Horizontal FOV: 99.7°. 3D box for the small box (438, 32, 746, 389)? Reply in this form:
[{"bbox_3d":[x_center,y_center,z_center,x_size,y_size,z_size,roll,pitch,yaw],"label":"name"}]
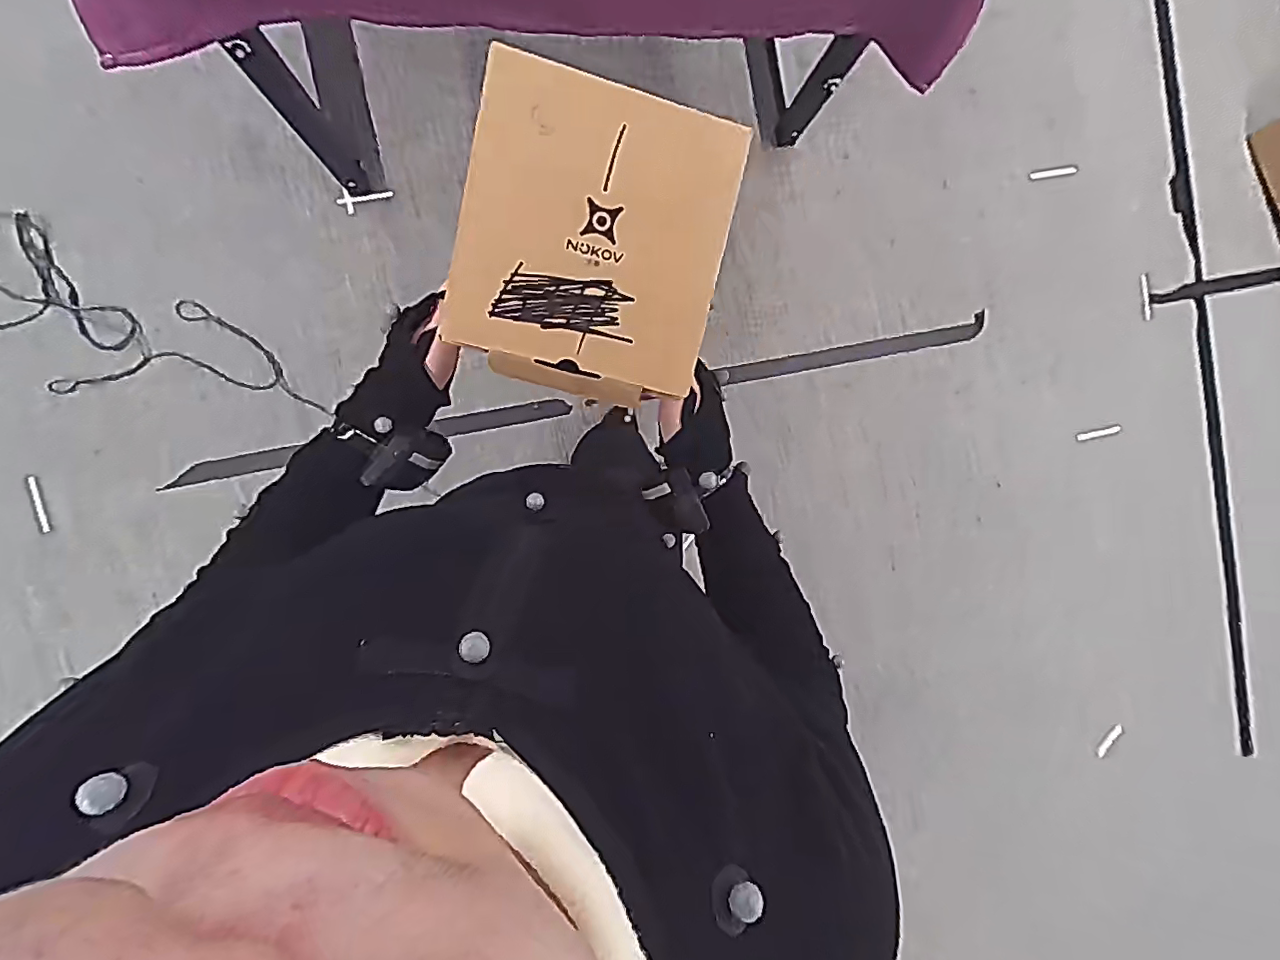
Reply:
[{"bbox_3d":[-0.040,-0.176,0.417,0.168,0.176,0.179,12,99,-10],"label":"small box"}]

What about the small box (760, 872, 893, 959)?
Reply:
[{"bbox_3d":[0.317,0.836,0.938,0.168,0.176,0.179,-6,97,-8],"label":"small box"}]
